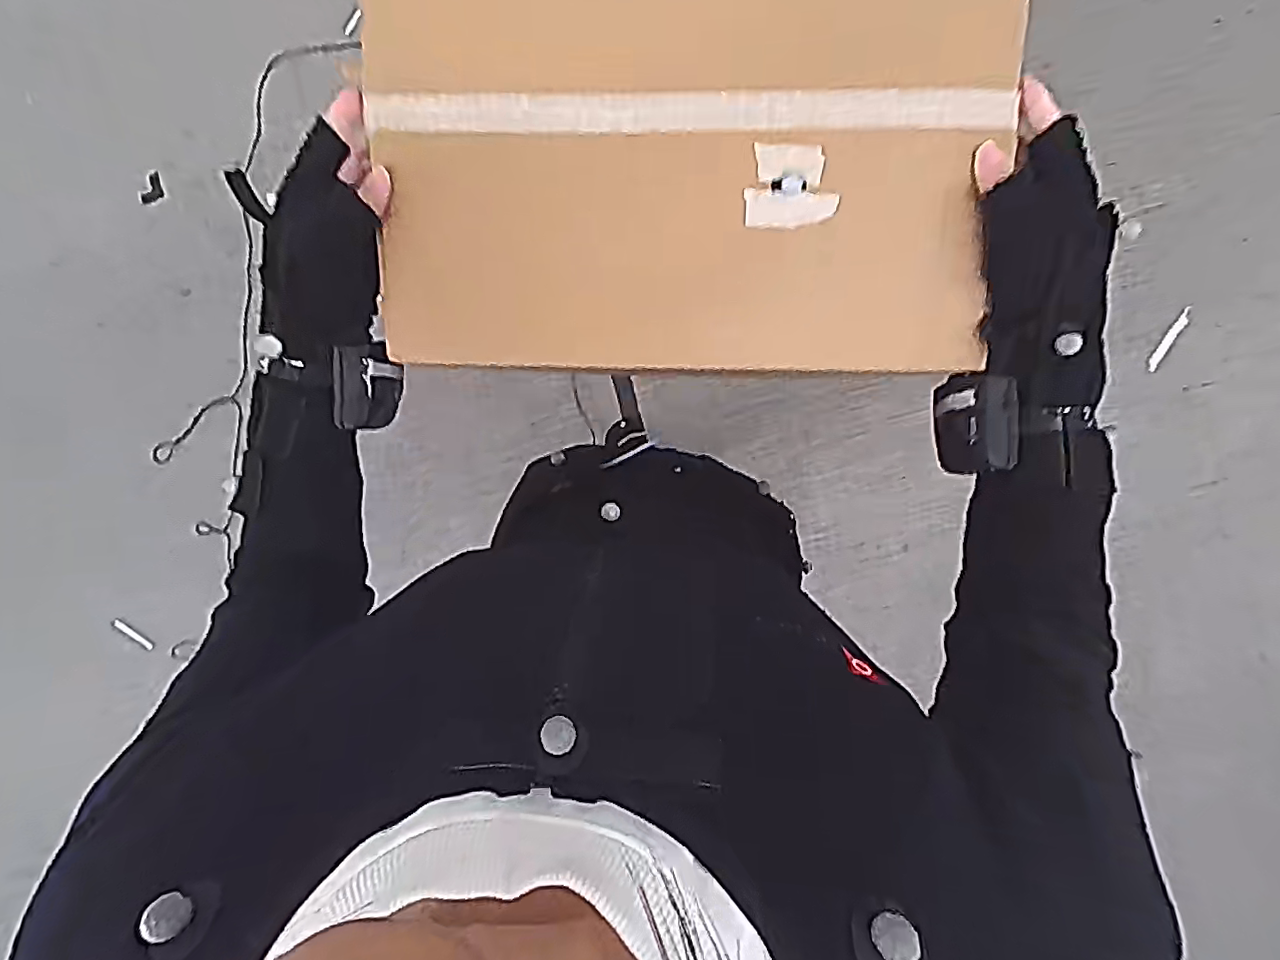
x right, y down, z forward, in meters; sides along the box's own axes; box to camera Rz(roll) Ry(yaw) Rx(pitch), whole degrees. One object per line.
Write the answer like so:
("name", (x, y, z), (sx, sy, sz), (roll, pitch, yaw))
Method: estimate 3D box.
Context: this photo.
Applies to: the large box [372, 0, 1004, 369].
("large box", (0.029, -0.266, 0.498), (0.408, 0.320, 0.320), (0, 101, 1))
